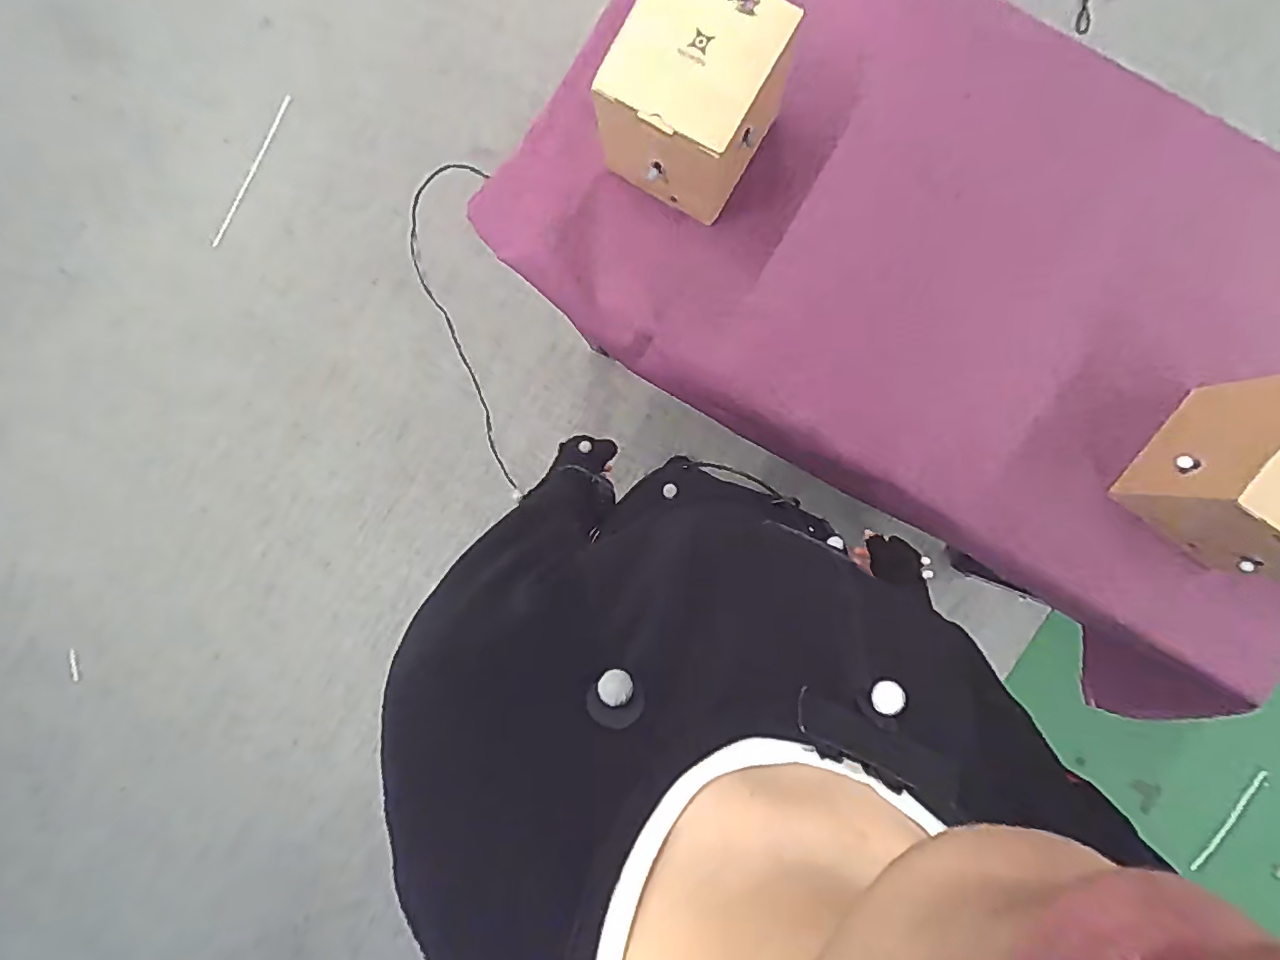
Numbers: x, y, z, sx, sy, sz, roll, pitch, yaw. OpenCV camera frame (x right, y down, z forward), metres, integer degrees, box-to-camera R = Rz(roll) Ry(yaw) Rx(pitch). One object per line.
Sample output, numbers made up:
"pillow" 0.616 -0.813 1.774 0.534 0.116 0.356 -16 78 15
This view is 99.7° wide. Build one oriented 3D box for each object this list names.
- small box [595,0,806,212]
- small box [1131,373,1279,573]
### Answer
"small box" 0.070 -0.464 0.651 0.168 0.176 0.179 31 94 3
"small box" 0.722 -0.005 0.608 0.168 0.176 0.179 38 94 3
